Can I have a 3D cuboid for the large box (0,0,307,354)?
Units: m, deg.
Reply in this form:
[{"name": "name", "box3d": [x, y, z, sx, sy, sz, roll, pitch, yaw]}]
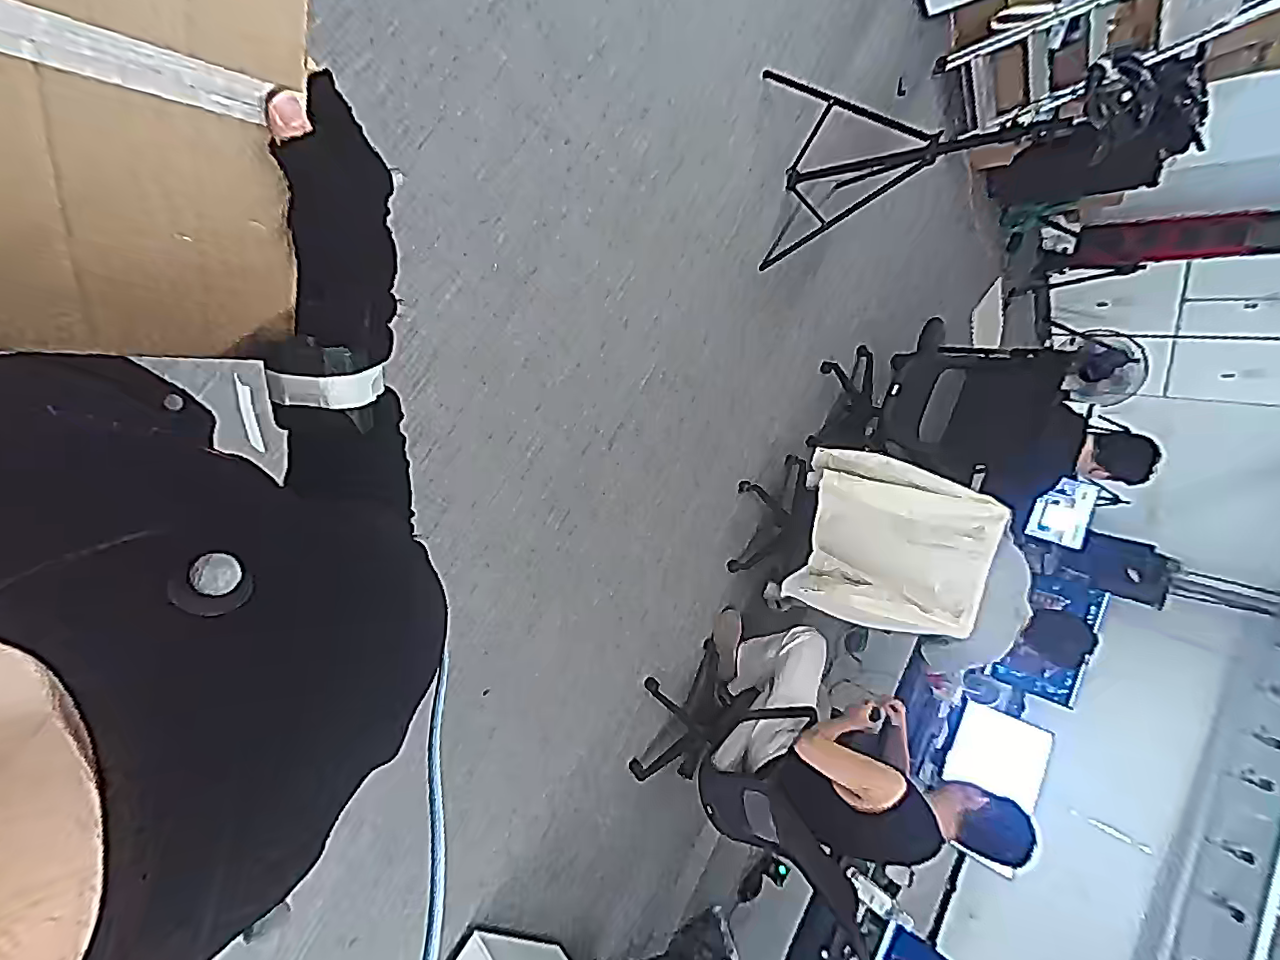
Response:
[{"name": "large box", "box3d": [-0.421, -0.279, 0.247, 0.408, 0.320, 0.320, -8, 140, -42]}]
